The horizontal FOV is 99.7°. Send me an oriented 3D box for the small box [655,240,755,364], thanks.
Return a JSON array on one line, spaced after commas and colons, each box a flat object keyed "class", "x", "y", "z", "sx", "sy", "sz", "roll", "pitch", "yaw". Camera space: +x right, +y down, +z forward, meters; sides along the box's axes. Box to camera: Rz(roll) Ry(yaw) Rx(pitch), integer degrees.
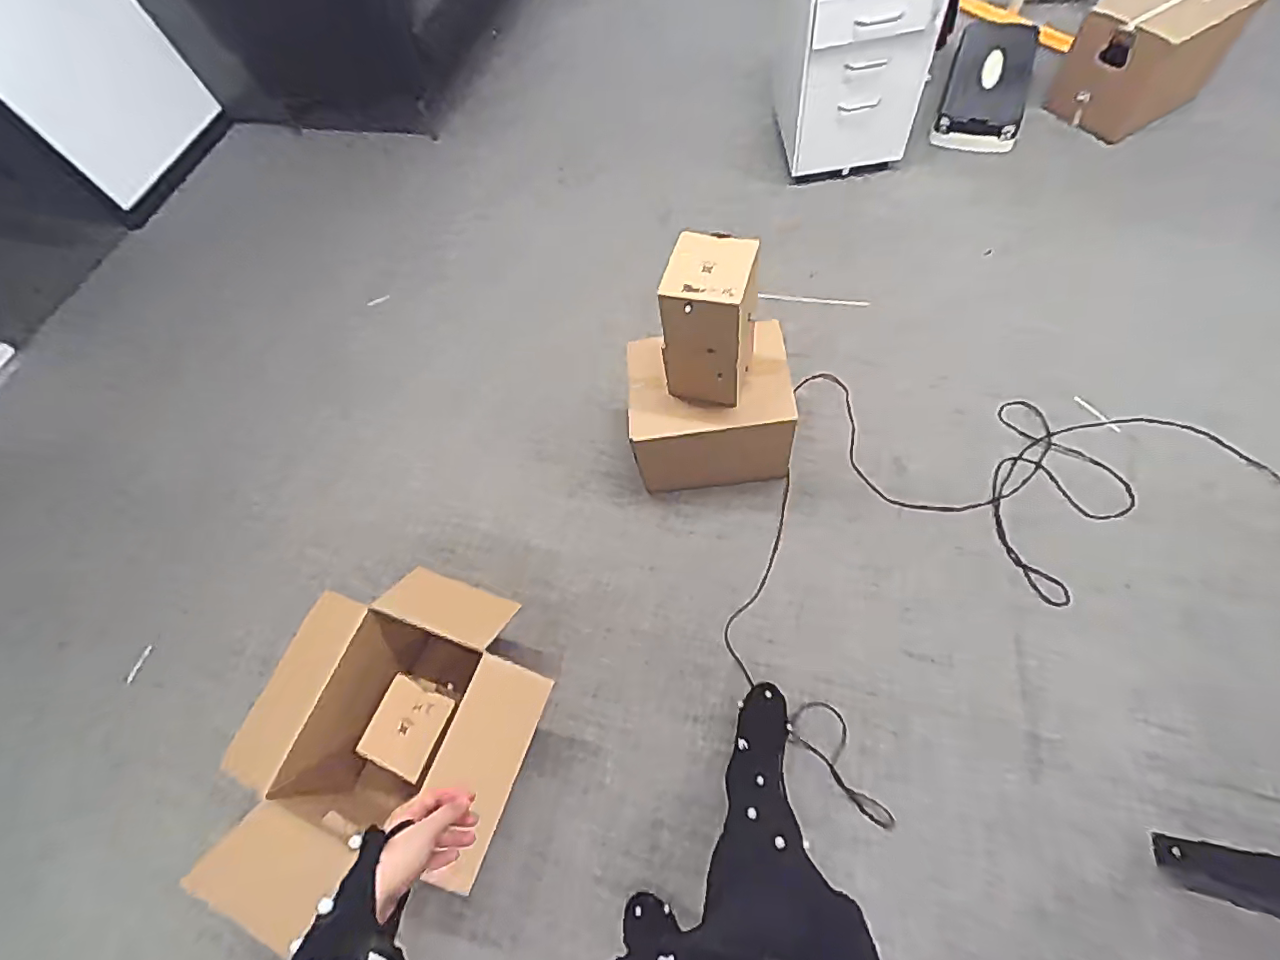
[{"class": "small box", "x": 0.140, "y": -0.377, "z": 1.149, "sx": 0.168, "sy": 0.176, "sz": 0.179, "roll": 12, "pitch": 64, "yaw": 16}]
